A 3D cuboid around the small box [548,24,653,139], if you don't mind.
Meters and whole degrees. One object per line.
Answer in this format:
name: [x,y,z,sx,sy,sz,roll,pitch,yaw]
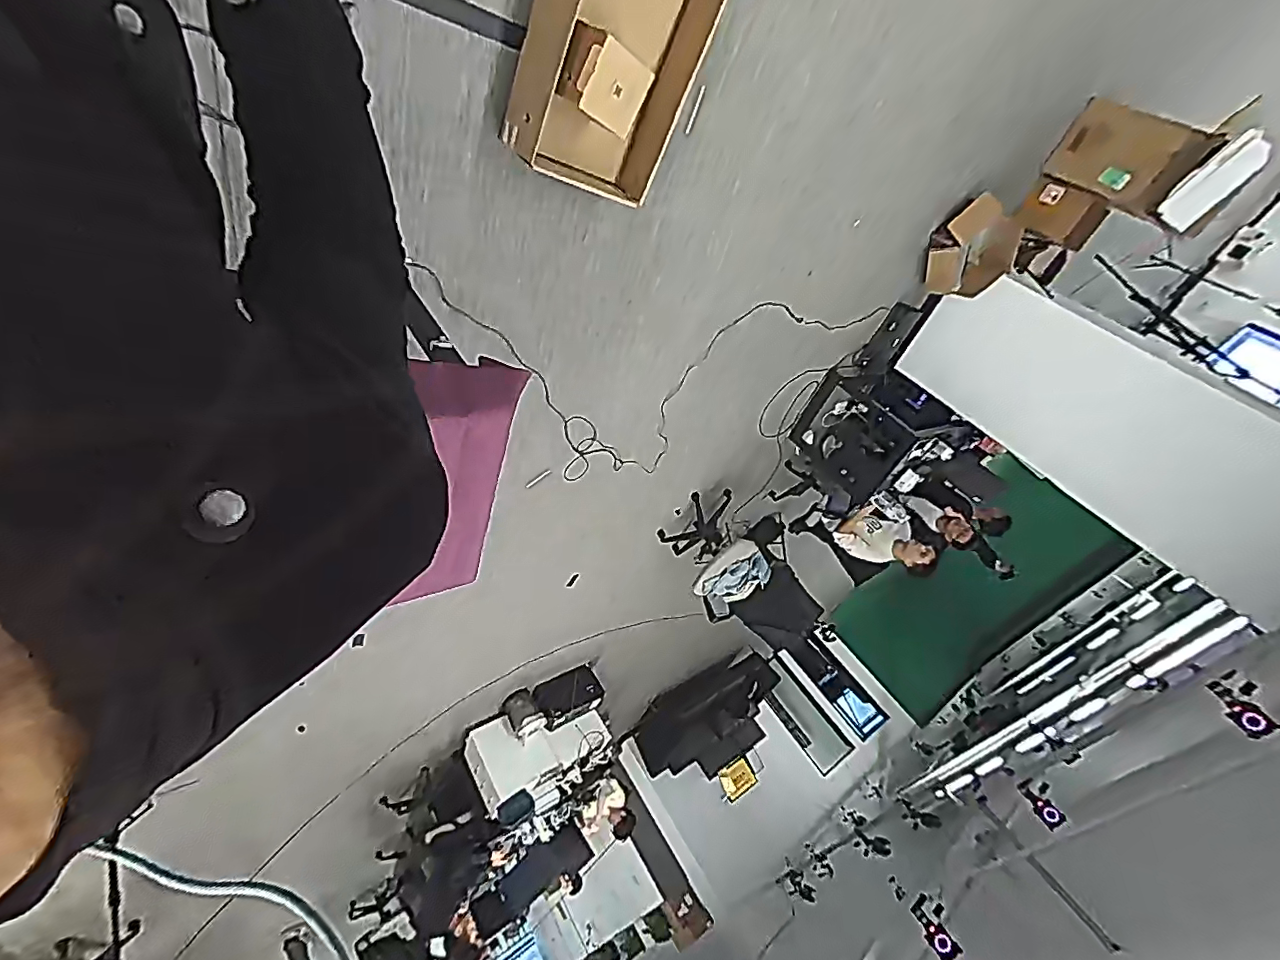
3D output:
small box: [-0.107,-1.029,1.394,0.179,0.176,0.168,2,130,-49]
